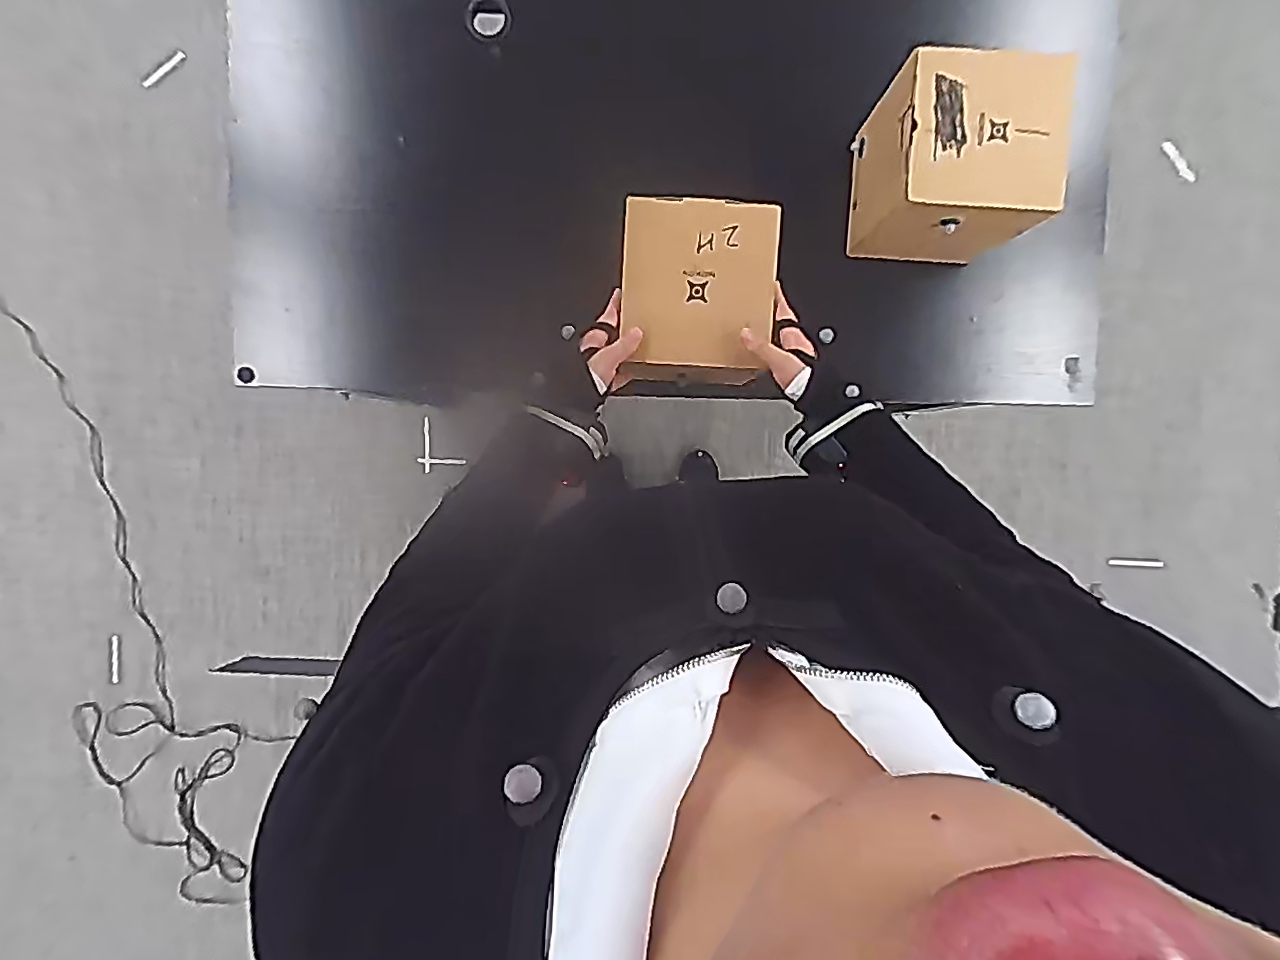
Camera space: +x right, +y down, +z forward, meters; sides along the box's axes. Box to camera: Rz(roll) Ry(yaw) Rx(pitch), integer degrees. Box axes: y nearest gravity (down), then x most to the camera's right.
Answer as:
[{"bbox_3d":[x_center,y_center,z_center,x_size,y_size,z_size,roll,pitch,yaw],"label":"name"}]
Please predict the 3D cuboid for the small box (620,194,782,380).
[{"bbox_3d":[0.066,-0.221,0.663,0.168,0.176,0.179,4,94,-1],"label":"small box"}]

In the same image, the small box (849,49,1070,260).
[{"bbox_3d":[0.379,-0.388,0.673,0.179,0.176,0.168,3,93,-1],"label":"small box"}]
